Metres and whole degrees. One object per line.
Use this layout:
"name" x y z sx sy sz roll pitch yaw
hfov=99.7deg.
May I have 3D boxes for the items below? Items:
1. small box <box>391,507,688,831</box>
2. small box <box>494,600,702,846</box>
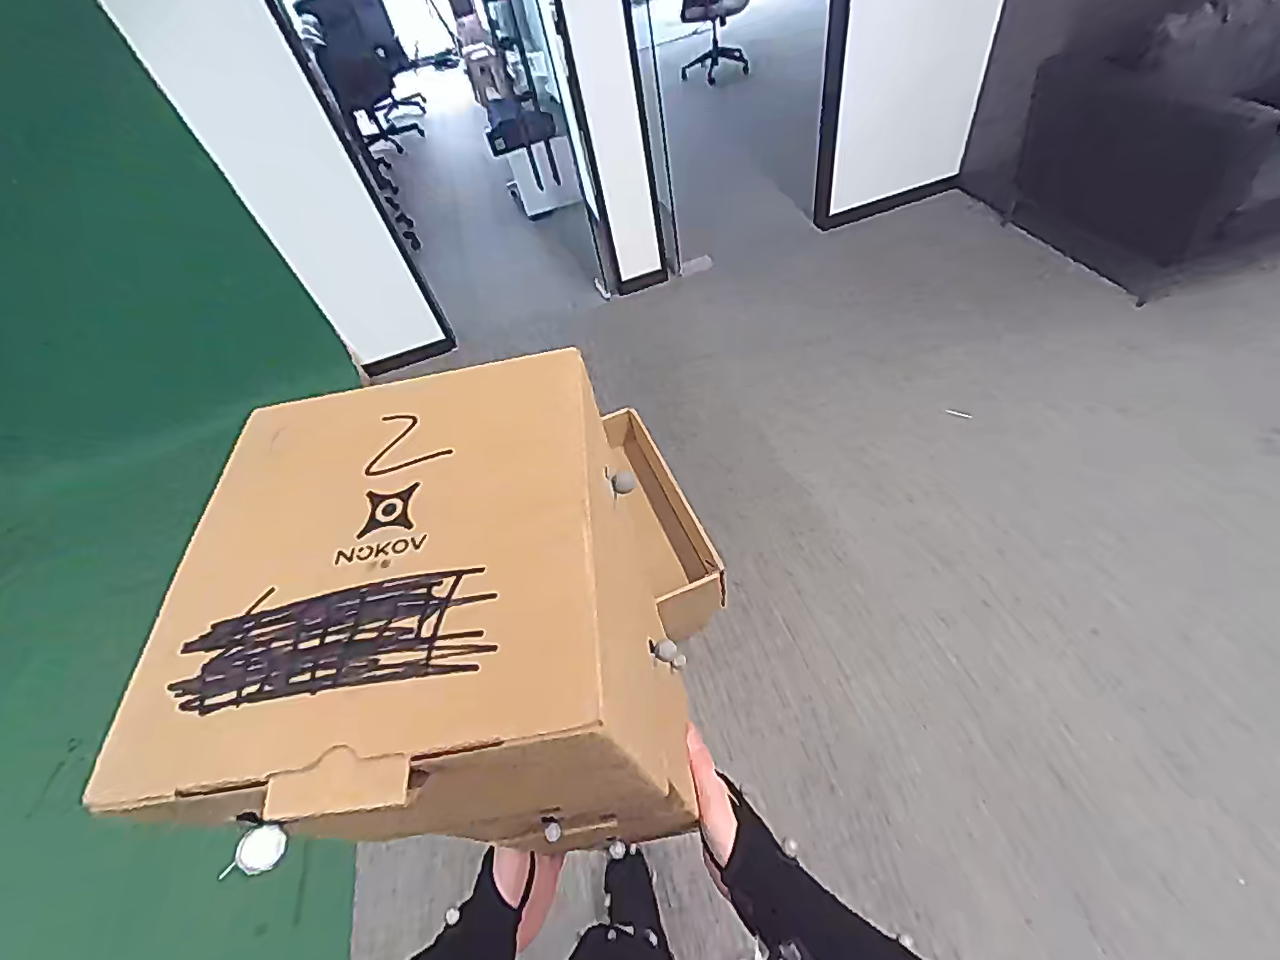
"small box" -0.062 0.149 0.414 0.168 0.176 0.179 -12 54 1
"small box" -0.037 0.246 0.541 0.168 0.176 0.179 -12 53 2
